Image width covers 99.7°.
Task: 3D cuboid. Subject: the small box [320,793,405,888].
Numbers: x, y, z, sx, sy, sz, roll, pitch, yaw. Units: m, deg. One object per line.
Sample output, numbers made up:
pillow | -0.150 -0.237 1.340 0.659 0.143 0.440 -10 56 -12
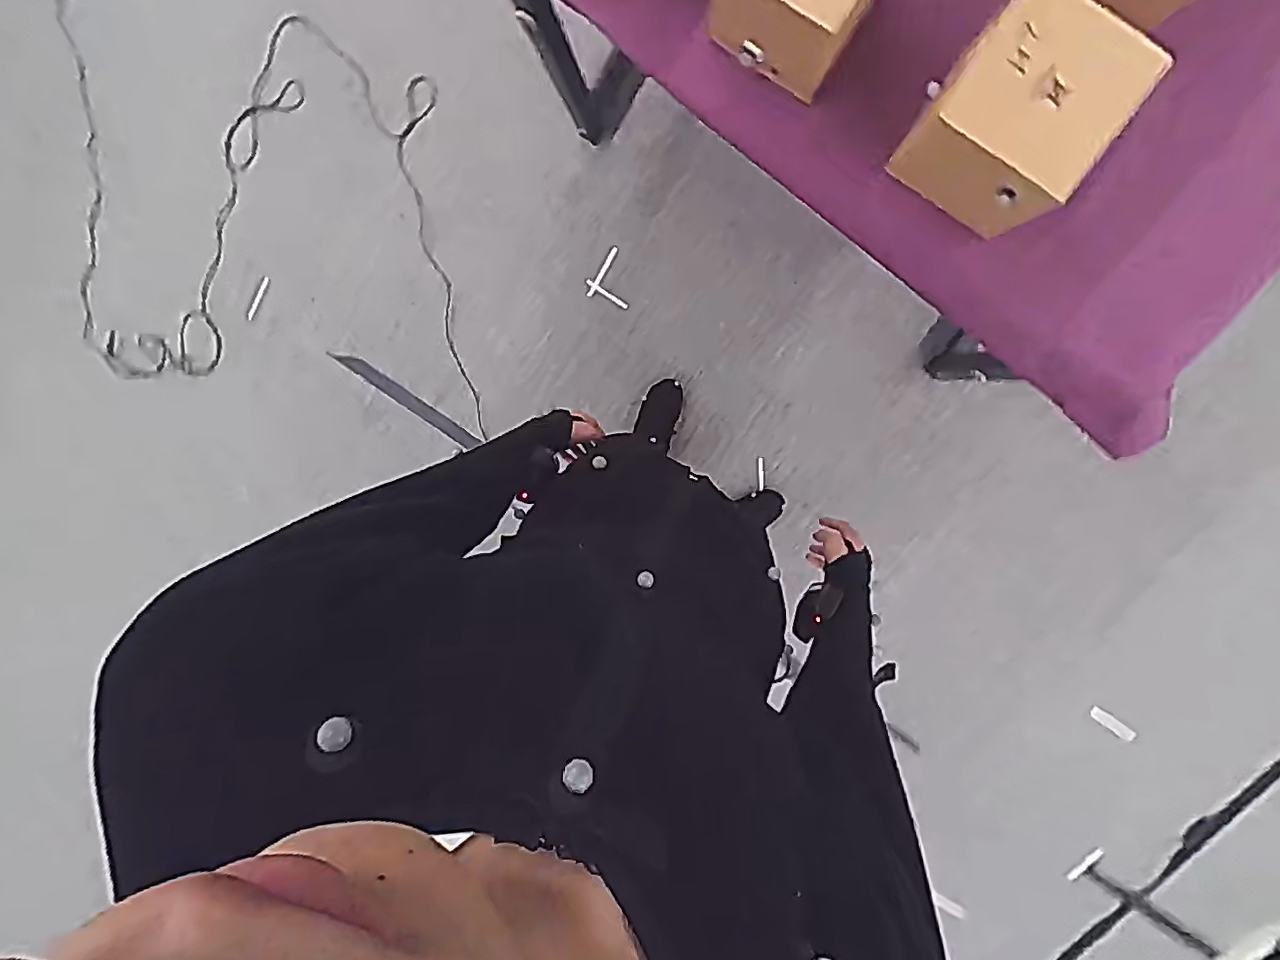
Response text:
small box | -0.951 1.239 1.867 0.168 0.176 0.179 33 101 -1

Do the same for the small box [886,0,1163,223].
small box | 0.442 -0.441 0.658 0.179 0.176 0.168 34 103 0

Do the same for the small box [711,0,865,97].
small box | 0.194 -0.625 0.655 0.168 0.176 0.179 33 105 0
